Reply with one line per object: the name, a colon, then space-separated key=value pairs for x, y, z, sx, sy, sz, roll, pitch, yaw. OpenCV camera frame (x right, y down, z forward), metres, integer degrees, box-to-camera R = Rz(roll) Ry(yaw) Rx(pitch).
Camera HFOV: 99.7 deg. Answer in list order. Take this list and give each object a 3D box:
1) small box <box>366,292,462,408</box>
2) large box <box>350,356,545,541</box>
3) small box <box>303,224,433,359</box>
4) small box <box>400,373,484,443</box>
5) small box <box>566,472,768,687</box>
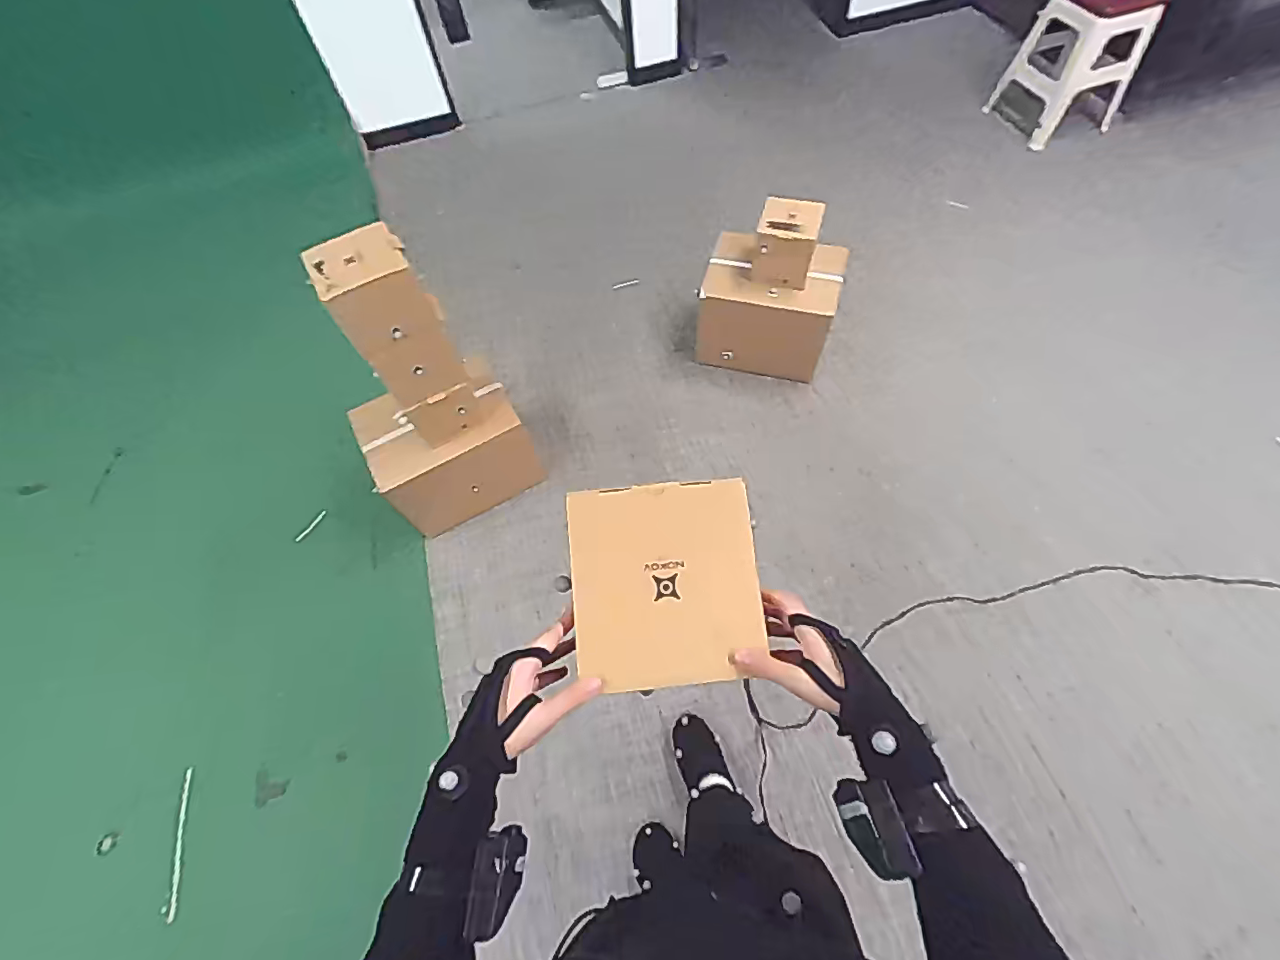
small box: x=-0.537 y=-0.303 z=1.262 sx=0.179 sy=0.176 sz=0.168 roll=-30 pitch=63 yaw=-12
large box: x=-0.555 y=-0.087 z=1.610 sx=0.408 sy=0.320 sz=0.320 roll=-30 pitch=61 yaw=-11
small box: x=-0.550 y=-0.385 z=1.120 sx=0.179 sy=0.176 sz=0.168 roll=-28 pitch=62 yaw=-13
small box: x=-0.528 y=-0.219 z=1.402 sx=0.168 sy=0.176 sz=0.179 roll=-28 pitch=62 yaw=-12
small box: x=0.018 y=0.101 z=0.548 sx=0.168 sy=0.176 sz=0.179 roll=-5 pitch=76 yaw=-4
